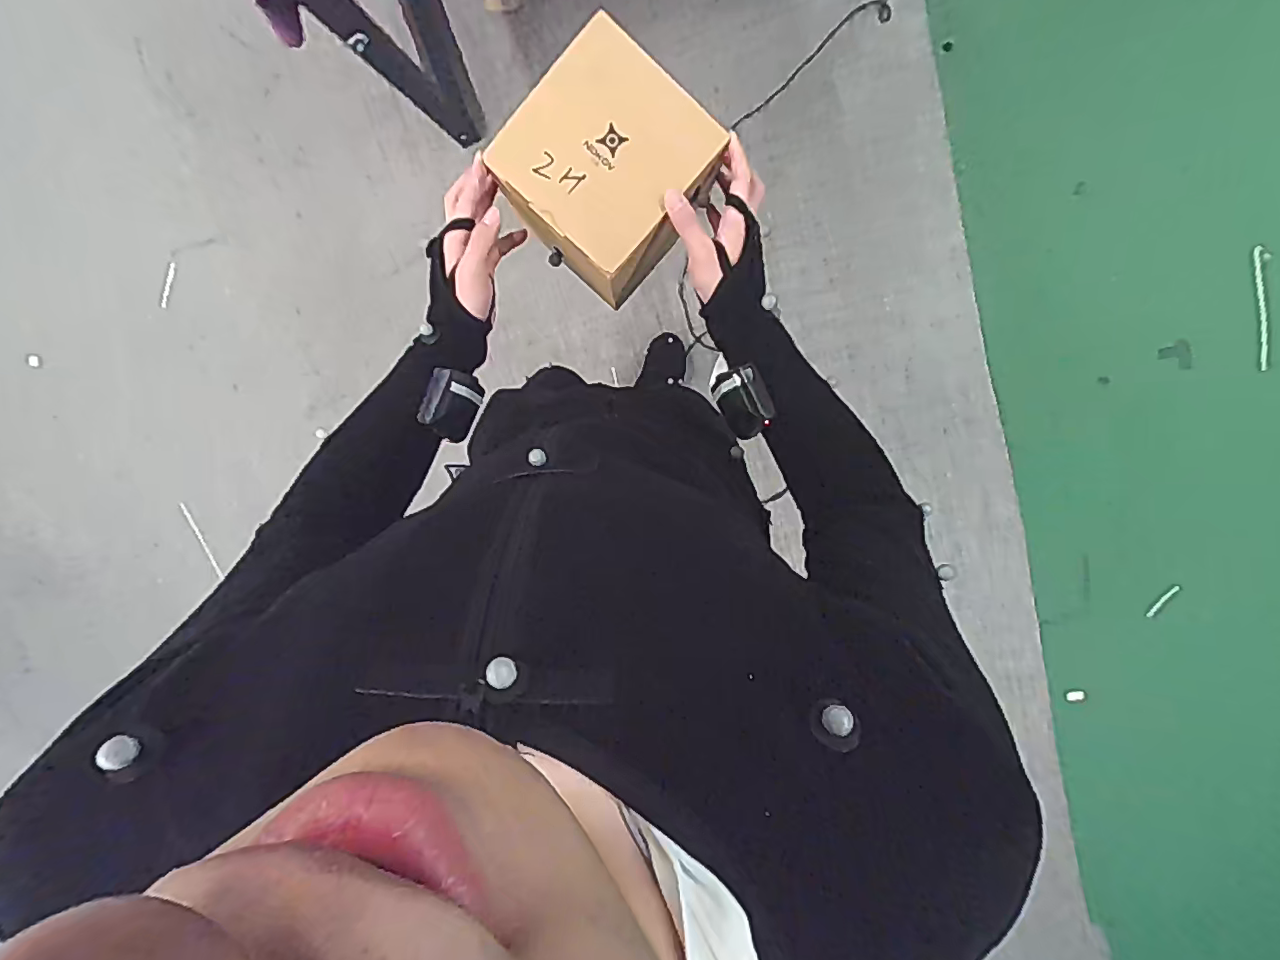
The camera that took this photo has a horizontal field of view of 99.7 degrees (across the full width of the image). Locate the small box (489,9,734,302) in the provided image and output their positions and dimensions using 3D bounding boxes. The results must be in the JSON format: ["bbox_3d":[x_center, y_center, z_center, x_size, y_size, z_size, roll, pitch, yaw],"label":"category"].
[{"bbox_3d":[-0.028,-0.324,0.585,0.168,0.176,0.179,42,95,-5],"label":"small box"}]
